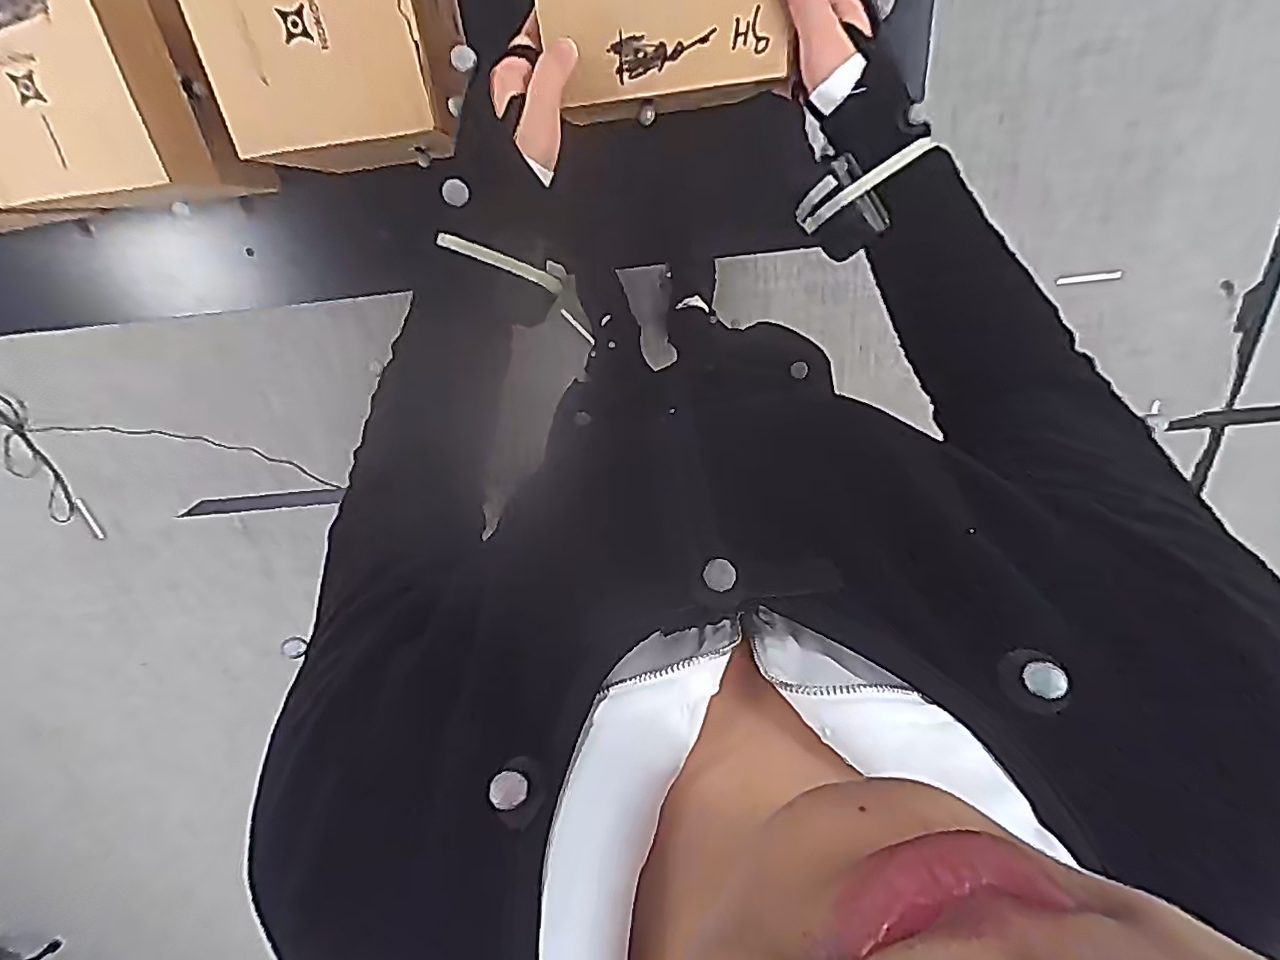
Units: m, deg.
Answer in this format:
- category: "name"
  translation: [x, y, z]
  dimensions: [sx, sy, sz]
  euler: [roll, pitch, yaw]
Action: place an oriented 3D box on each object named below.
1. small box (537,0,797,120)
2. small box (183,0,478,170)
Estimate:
- category: "small box"
  translation: [0.009, -0.376, 0.385]
  dimensions: [0.168, 0.176, 0.179]
  euler: [-7, 120, 2]
- category: "small box"
  translation: [-0.261, -0.391, 0.492]
  dimensions: [0.179, 0.176, 0.168]
  euler: [-7, 115, 4]
